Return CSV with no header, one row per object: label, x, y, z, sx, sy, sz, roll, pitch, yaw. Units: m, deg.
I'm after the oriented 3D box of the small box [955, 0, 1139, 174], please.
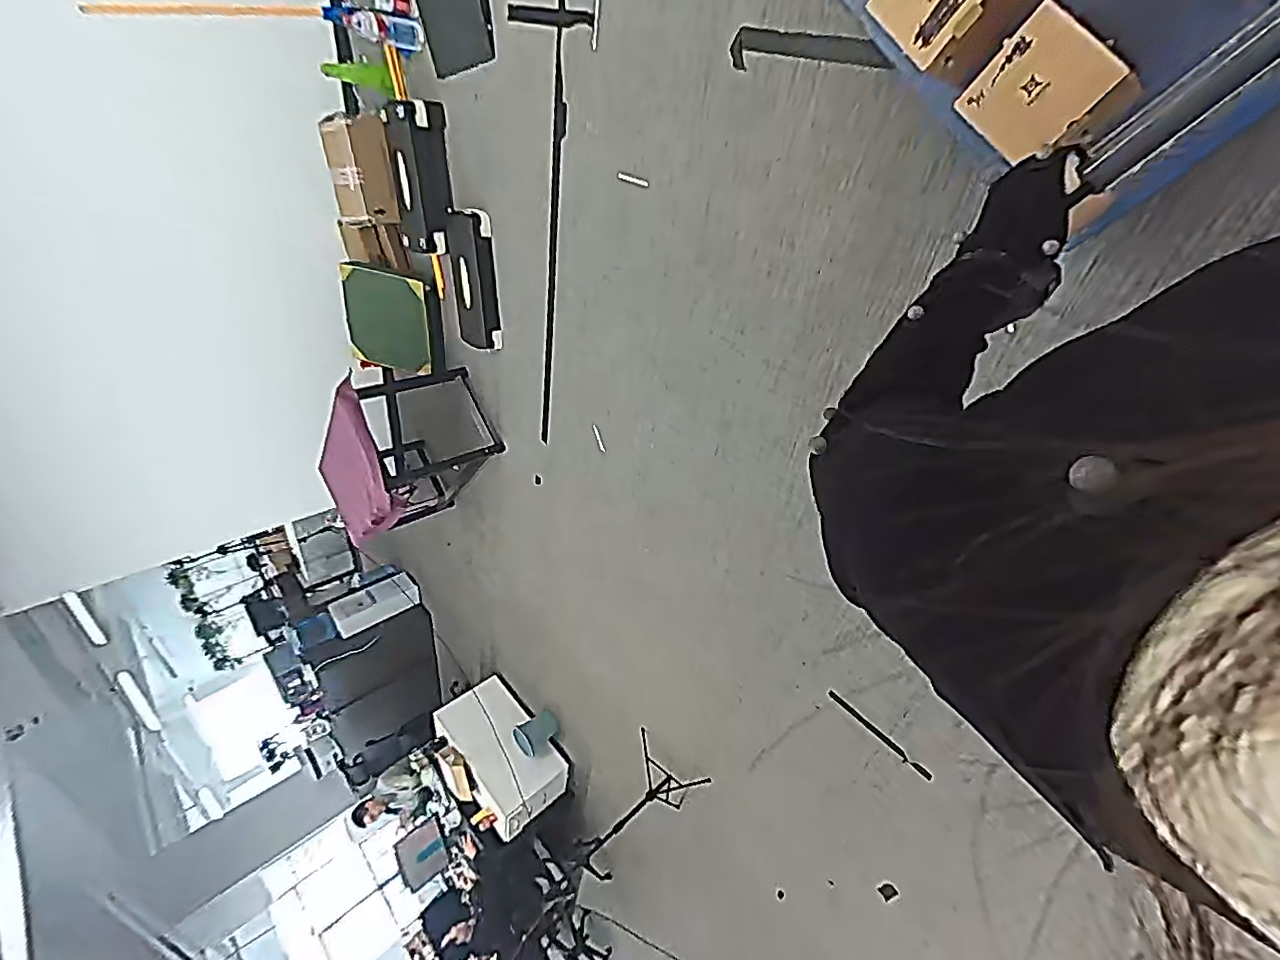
small box,0.677,-0.641,0.898,0.179,0.176,0.168,55,138,12
